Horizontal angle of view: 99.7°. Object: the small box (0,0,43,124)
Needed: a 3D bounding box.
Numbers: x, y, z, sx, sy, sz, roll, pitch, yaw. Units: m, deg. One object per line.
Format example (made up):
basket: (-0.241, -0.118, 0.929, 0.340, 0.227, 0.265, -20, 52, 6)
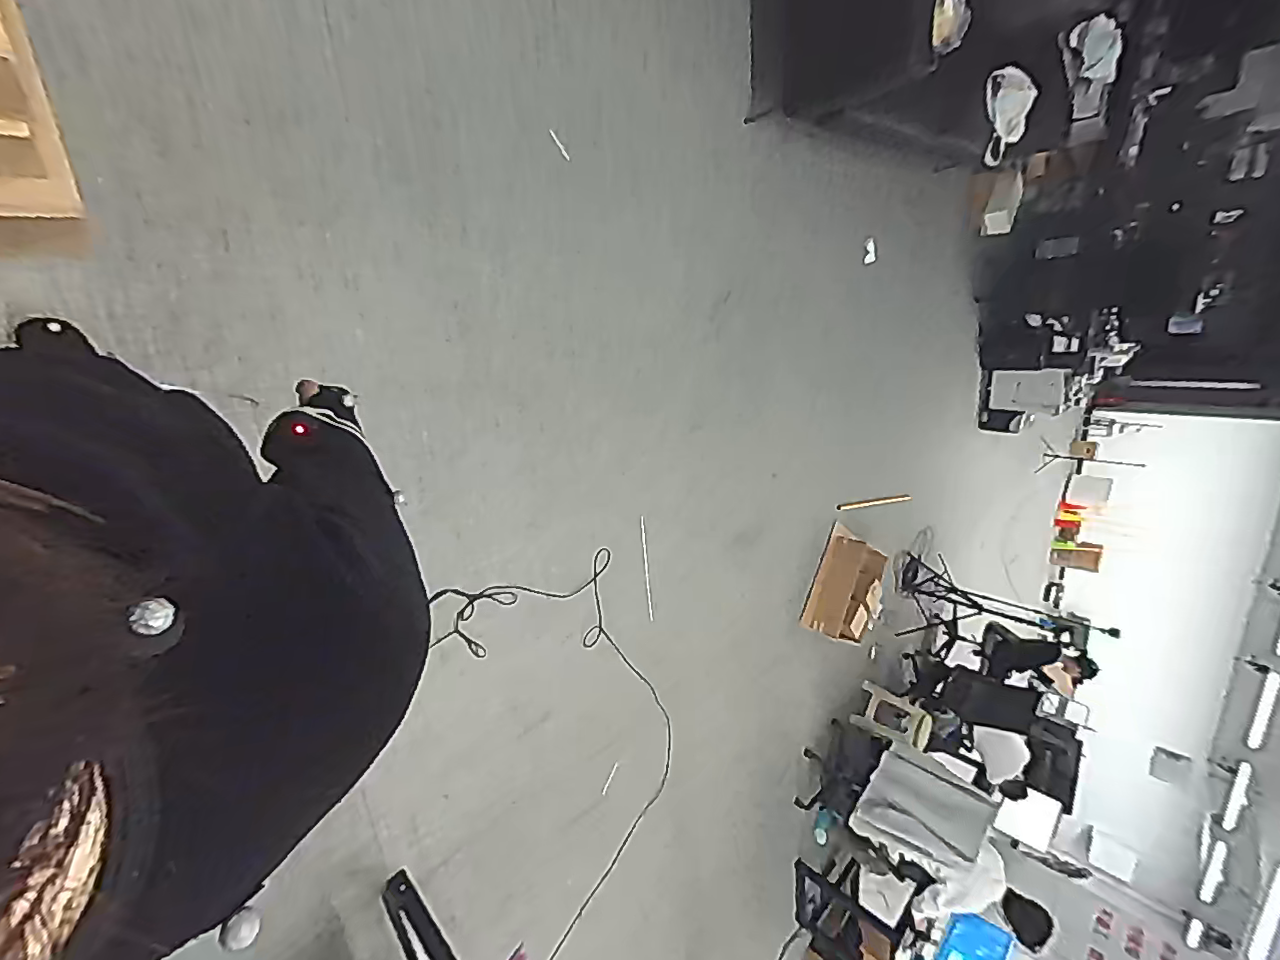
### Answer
small box: (-0.643, -0.432, 0.446, 0.168, 0.176, 0.179, -16, 109, -40)
